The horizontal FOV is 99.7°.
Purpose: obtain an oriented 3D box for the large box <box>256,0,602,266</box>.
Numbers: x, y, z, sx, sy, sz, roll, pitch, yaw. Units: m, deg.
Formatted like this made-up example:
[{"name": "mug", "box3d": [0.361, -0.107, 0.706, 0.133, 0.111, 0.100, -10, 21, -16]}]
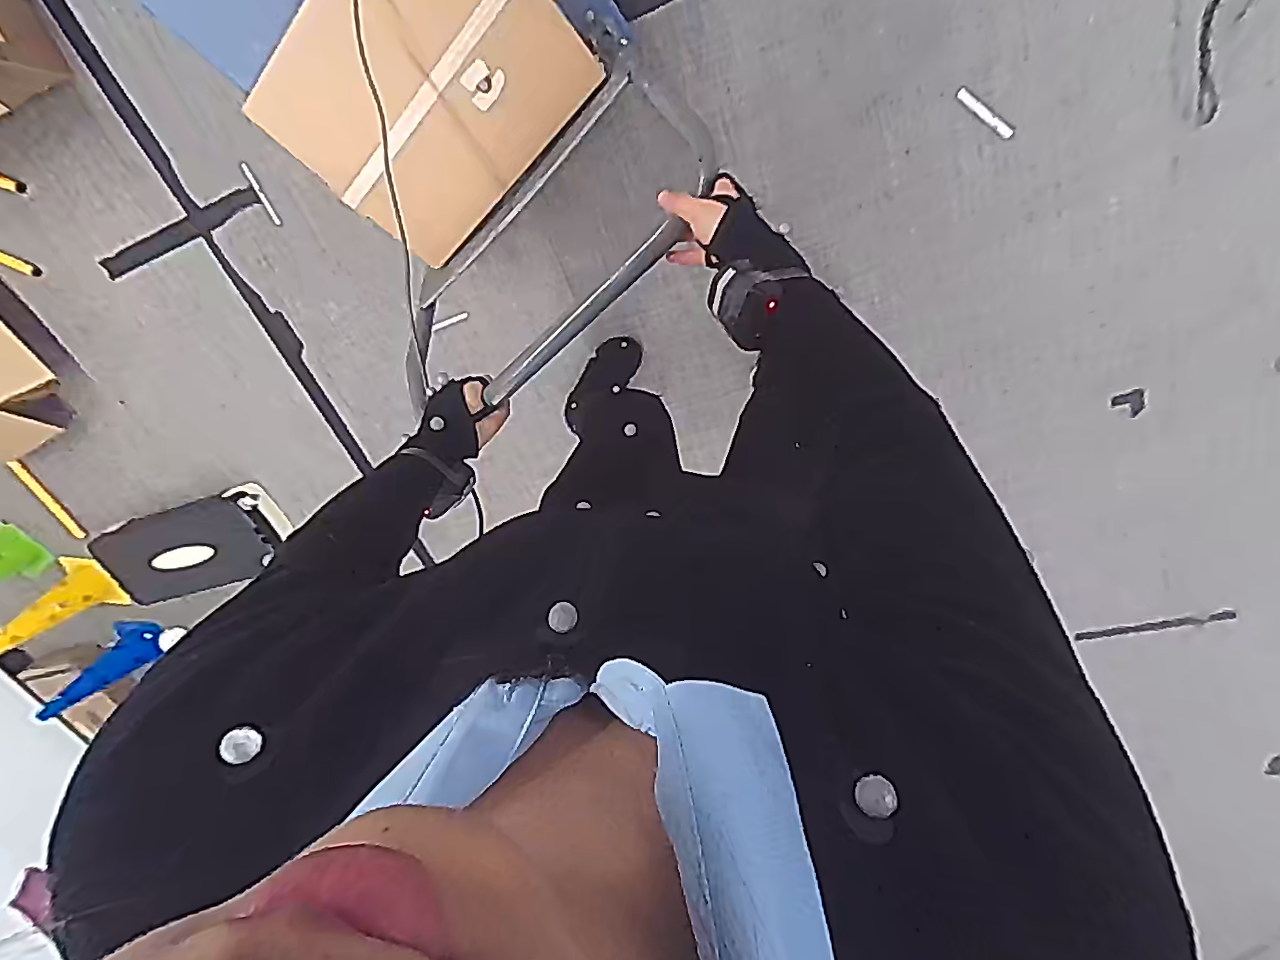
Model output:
[{"name": "large box", "box3d": [-0.318, -0.646, 0.874, 0.408, 0.320, 0.320, -38, 129, 21]}]
